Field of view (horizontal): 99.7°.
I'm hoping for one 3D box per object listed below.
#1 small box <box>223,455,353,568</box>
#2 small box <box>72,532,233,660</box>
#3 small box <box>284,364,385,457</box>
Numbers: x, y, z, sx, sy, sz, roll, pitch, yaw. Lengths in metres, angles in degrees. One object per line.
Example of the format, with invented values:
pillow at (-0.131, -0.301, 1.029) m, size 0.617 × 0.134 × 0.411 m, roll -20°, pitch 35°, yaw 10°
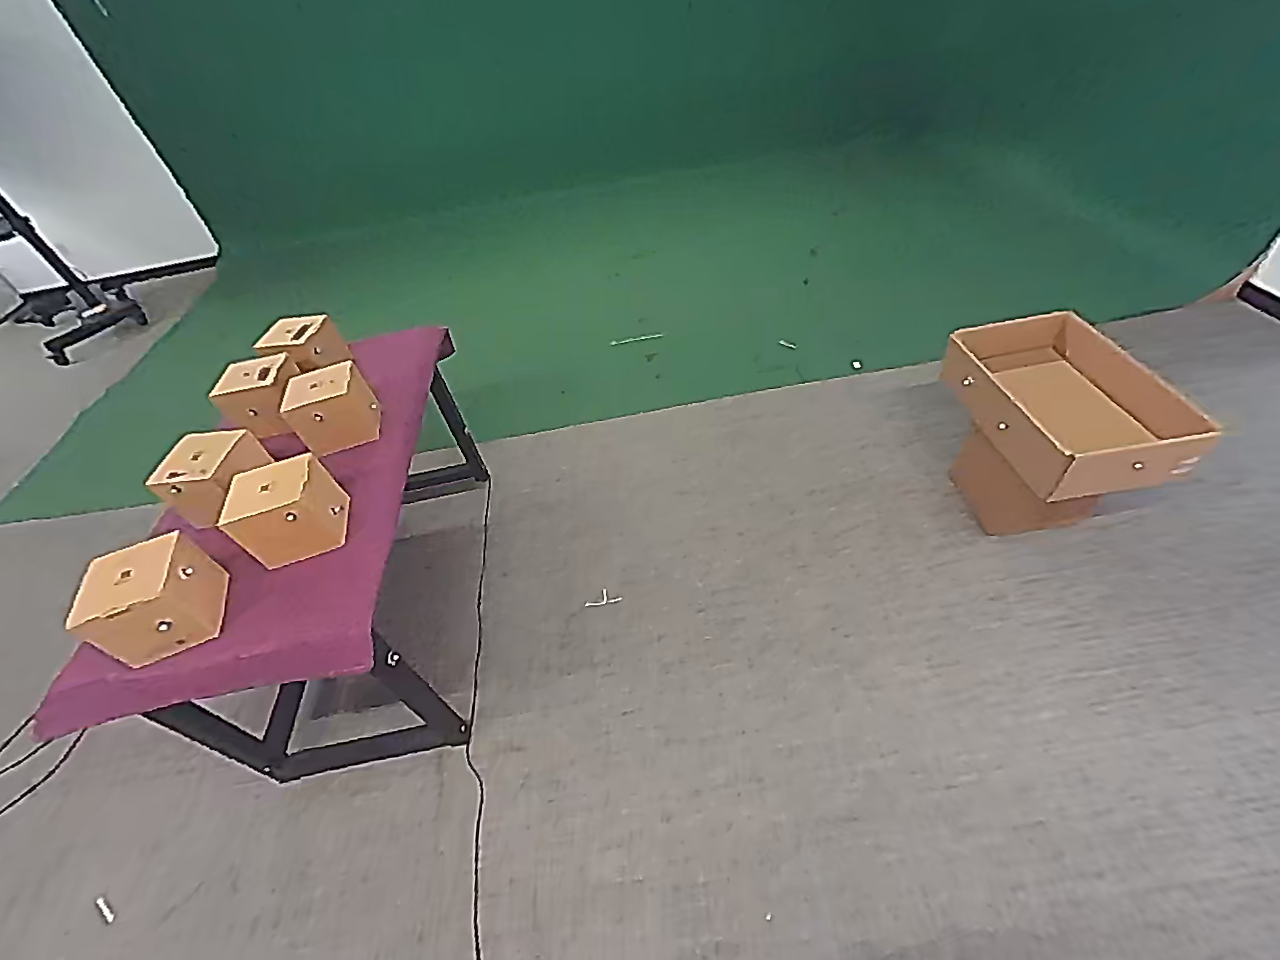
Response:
small box at (-0.795, 0.075, 1.242) m, size 0.179 × 0.176 × 0.168 m, roll -18°, pitch 45°, yaw -6°
small box at (-0.982, 0.246, 1.112) m, size 0.168 × 0.176 × 0.179 m, roll -21°, pitch 46°, yaw -11°
small box at (-0.839, -0.190, 1.503) m, size 0.179 × 0.176 × 0.168 m, roll -18°, pitch 46°, yaw -5°
